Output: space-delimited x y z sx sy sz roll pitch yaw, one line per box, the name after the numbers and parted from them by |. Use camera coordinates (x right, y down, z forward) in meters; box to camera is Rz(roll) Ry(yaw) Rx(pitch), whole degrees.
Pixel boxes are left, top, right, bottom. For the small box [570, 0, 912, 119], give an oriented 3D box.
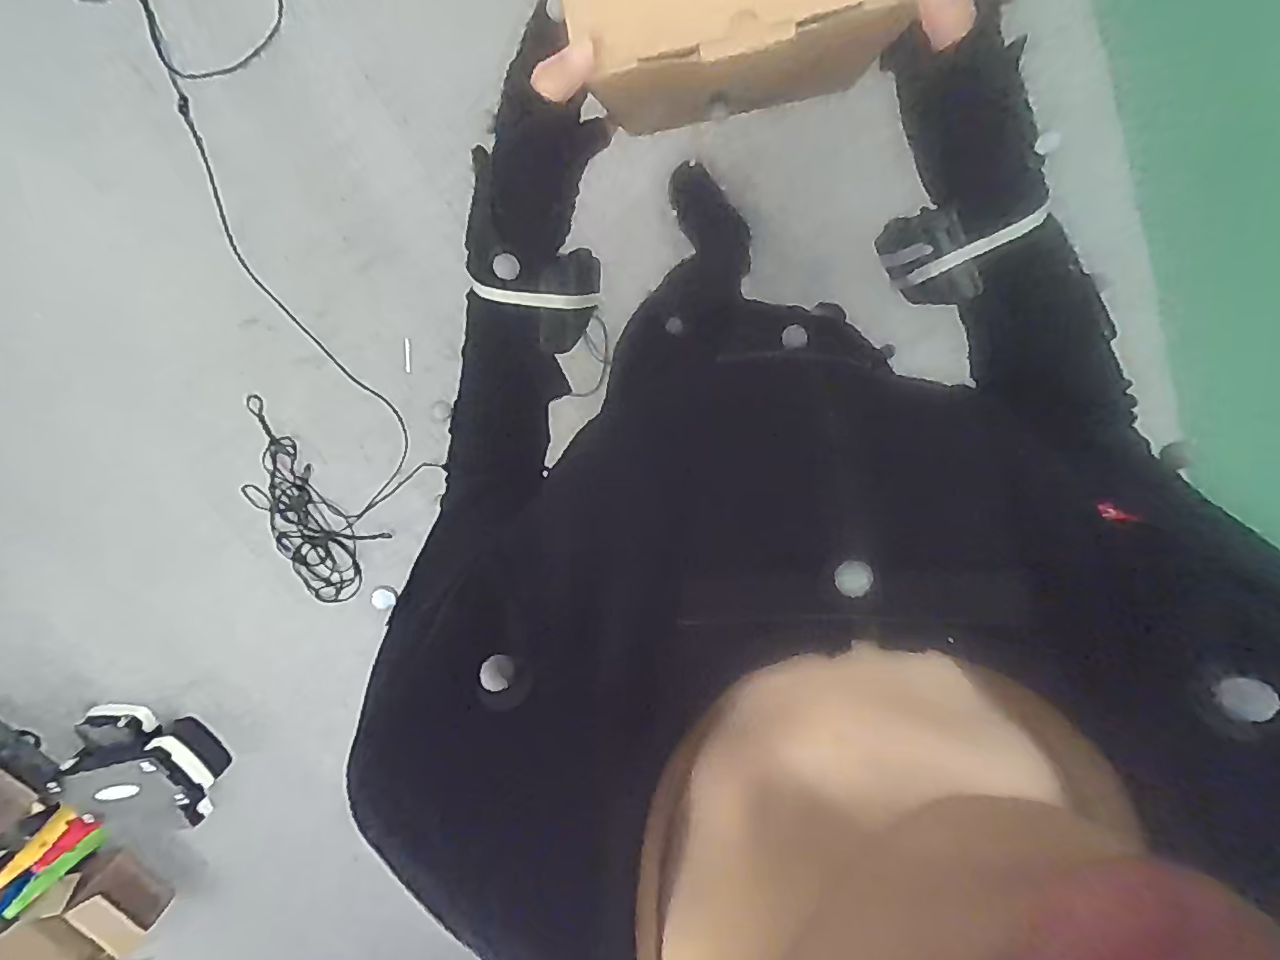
0.046 -0.322 0.285 0.168 0.176 0.179 -6 113 11 | small box
